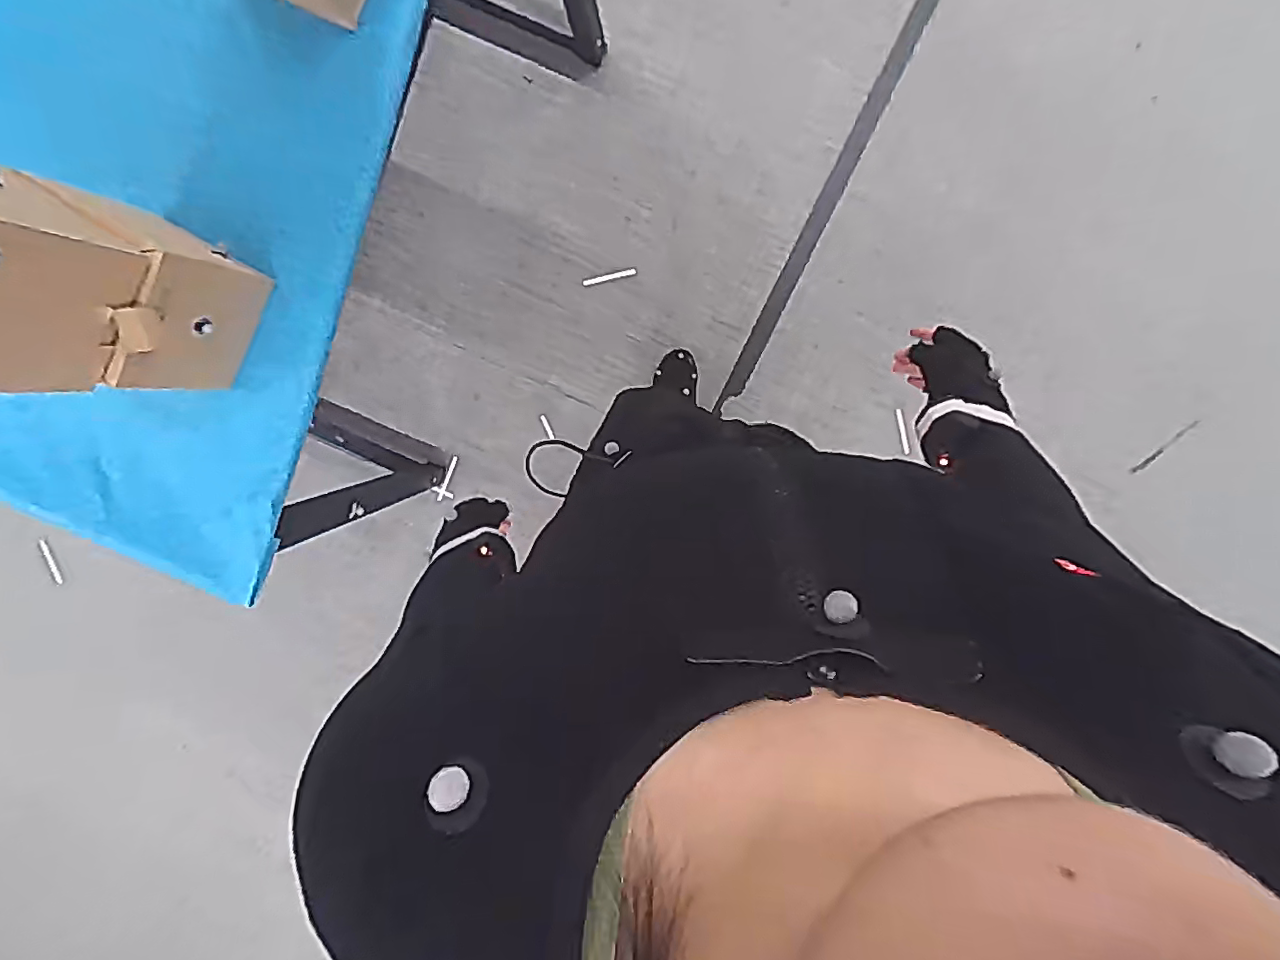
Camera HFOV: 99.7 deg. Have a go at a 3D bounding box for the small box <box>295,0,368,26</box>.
[{"bbox_3d":[-0.397,-0.647,0.569,0.179,0.176,0.168,24,100,0],"label":"small box"}]

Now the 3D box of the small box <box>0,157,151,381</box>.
[{"bbox_3d":[-0.624,-0.202,0.490,0.179,0.176,0.168,33,100,-4],"label":"small box"}]

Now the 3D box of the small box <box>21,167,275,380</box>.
[{"bbox_3d":[-0.602,-0.232,0.651,0.179,0.176,0.168,29,99,-2],"label":"small box"}]
